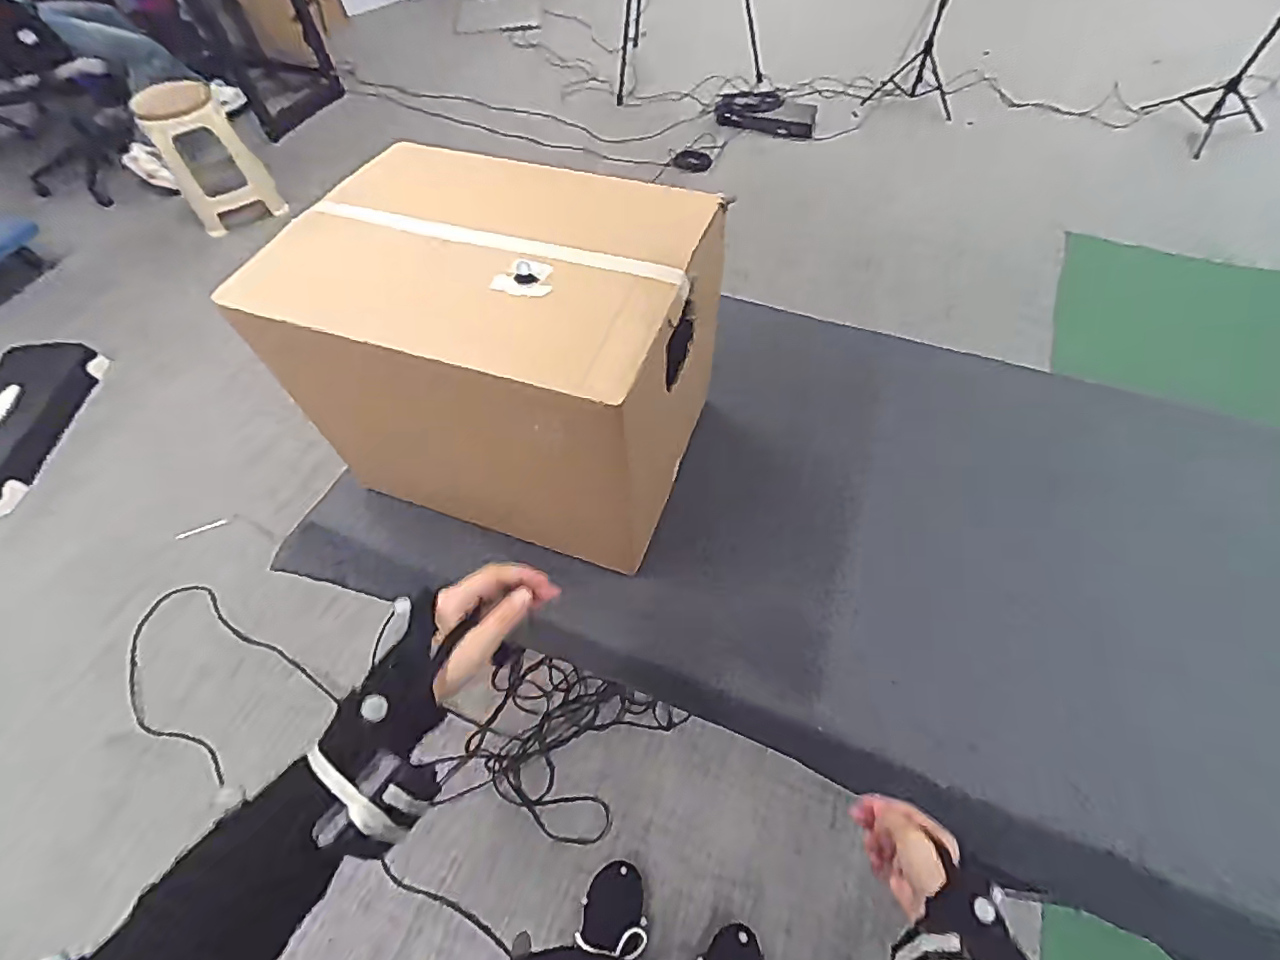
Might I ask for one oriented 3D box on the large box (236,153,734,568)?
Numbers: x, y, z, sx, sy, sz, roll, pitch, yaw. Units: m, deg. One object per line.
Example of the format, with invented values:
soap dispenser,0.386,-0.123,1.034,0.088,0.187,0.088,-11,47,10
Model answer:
large box,-0.136,-0.140,0.657,0.408,0.320,0.320,16,58,11
